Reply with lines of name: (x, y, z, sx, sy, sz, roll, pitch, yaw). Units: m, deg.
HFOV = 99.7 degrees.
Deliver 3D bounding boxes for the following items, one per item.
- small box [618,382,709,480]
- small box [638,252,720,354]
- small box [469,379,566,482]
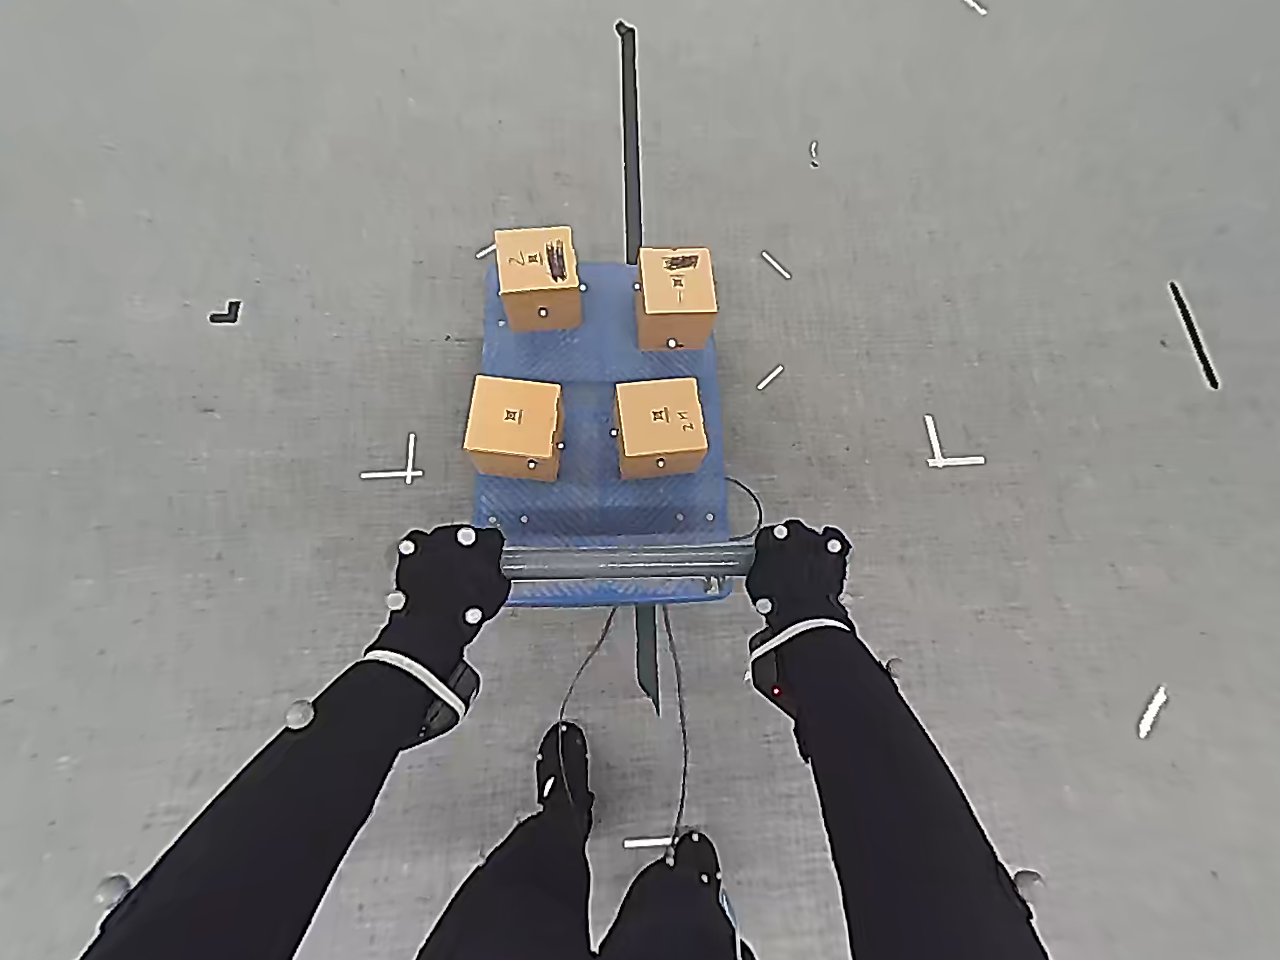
small box: (0.044, -0.103, 1.212, 0.179, 0.176, 0.168, -6, 74, -7)
small box: (0.087, -0.426, 1.313, 0.168, 0.176, 0.179, -3, 75, -6)
small box: (-0.259, -0.101, 1.184, 0.179, 0.176, 0.168, 6, 73, -5)
